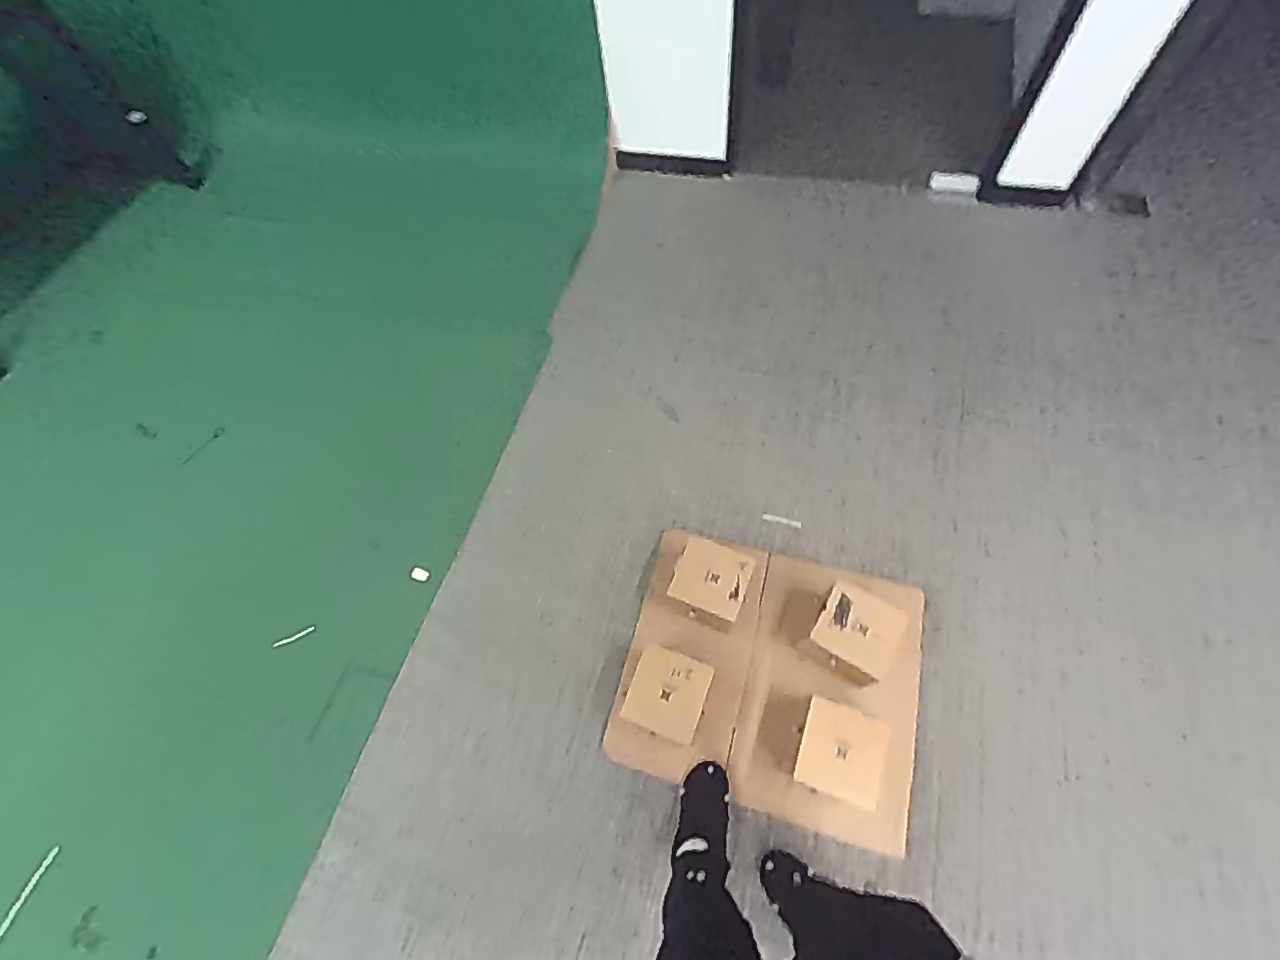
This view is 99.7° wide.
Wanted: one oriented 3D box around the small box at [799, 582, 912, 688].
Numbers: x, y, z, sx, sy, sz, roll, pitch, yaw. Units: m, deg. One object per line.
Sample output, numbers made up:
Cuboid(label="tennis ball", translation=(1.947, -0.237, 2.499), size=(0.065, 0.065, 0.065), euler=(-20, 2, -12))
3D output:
Cuboid(label="small box", translation=(0.498, 0.371, 1.274), size=(0.179, 0.176, 0.168), euler=(30, 70, 17))

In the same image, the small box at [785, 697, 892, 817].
Cuboid(label="small box", translation=(0.421, 0.594, 1.171), size=(0.168, 0.176, 0.179), euler=(17, 66, 13))

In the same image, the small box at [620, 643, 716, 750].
Cuboid(label="small box", translation=(0.070, 0.504, 1.251), size=(0.168, 0.176, 0.179), euler=(18, 66, 13))

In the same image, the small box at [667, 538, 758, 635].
Cuboid(label="small box", translation=(0.180, 0.273, 1.358), size=(0.179, 0.176, 0.168), euler=(20, 67, 15))
